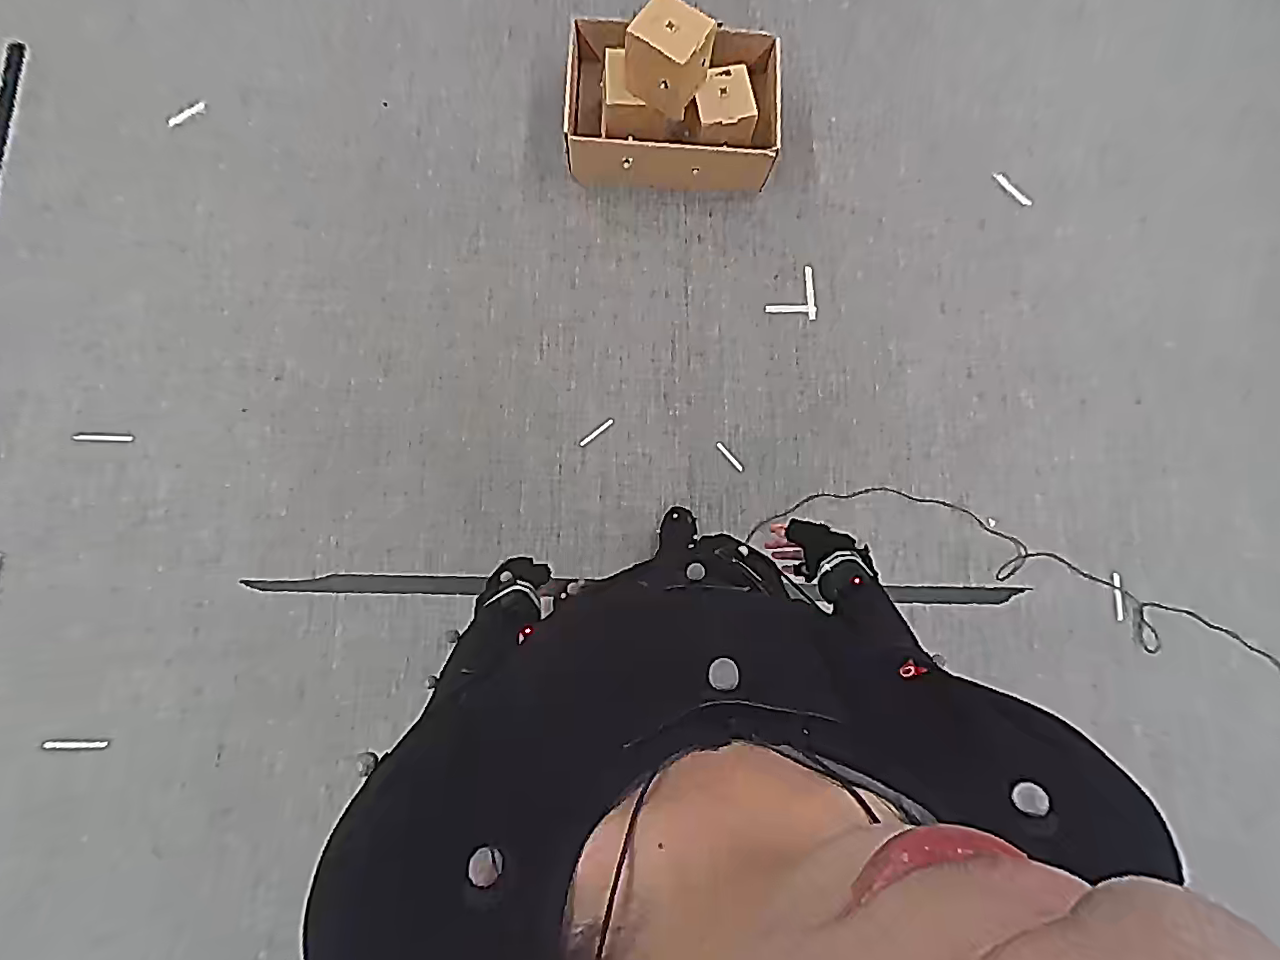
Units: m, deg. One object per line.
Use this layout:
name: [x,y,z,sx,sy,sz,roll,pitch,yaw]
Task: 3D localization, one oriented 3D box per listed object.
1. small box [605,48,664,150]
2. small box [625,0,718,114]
small box: [-0.019,-1.111,1.586,0.168,0.176,0.179,0,82,-5]
small box: [0.077,-1.120,1.430,0.179,0.176,0.168,33,79,3]
